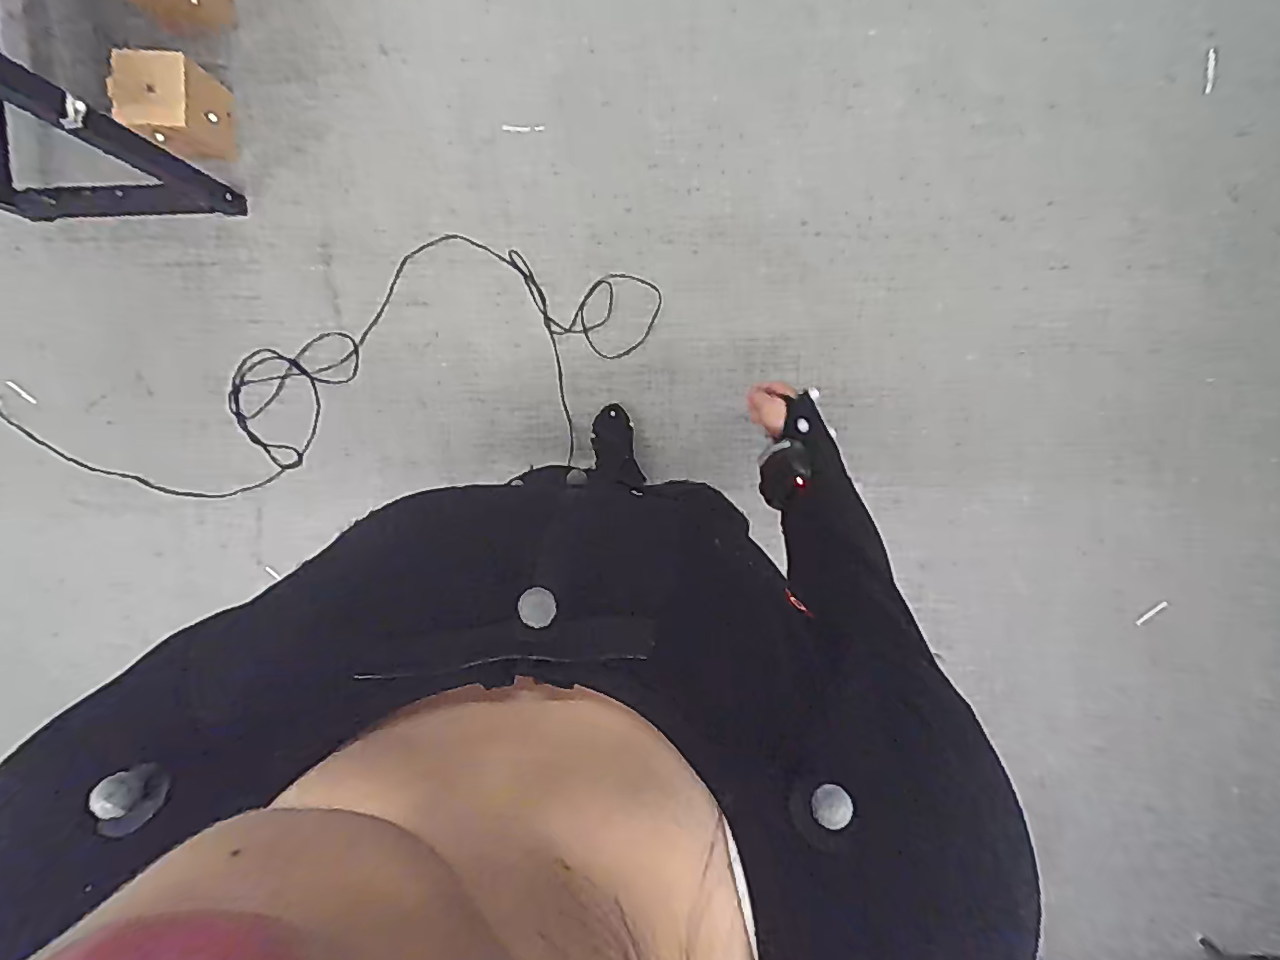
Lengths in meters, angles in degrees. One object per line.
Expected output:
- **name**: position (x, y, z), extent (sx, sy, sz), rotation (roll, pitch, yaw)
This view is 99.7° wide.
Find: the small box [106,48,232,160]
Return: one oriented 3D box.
- **small box**: position (-1.145, -0.913, 1.329), extent (0.179, 0.176, 0.168), rotation (3, 95, 0)
